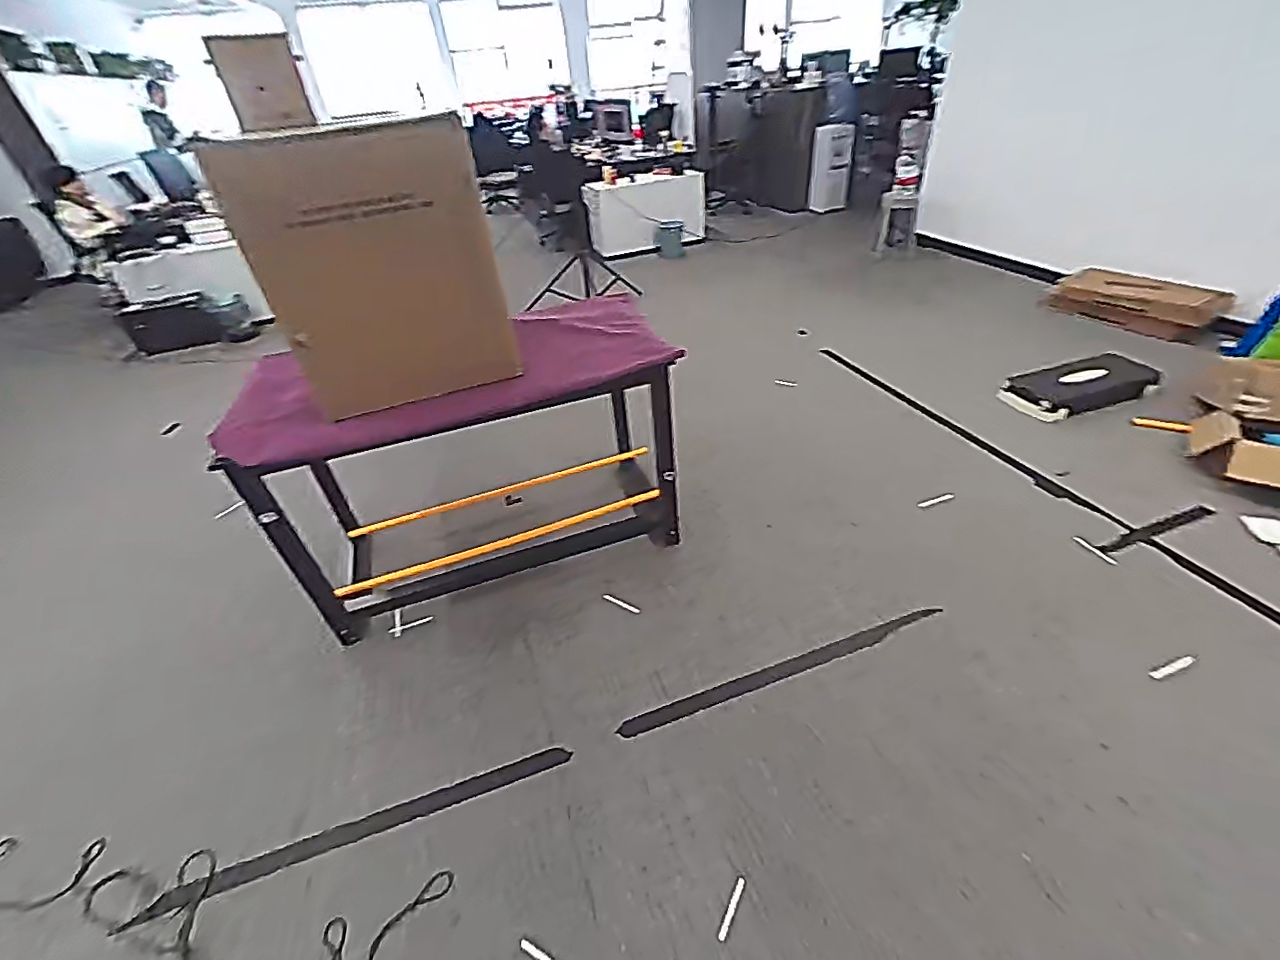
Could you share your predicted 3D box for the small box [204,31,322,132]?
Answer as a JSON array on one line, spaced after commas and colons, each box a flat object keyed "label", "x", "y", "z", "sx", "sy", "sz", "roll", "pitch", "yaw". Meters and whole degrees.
[{"label": "small box", "x": -0.840, "y": -0.895, "z": 1.221, "sx": 0.168, "sy": 0.176, "sz": 0.179, "roll": -20, "pitch": 40, "yaw": -20}]
